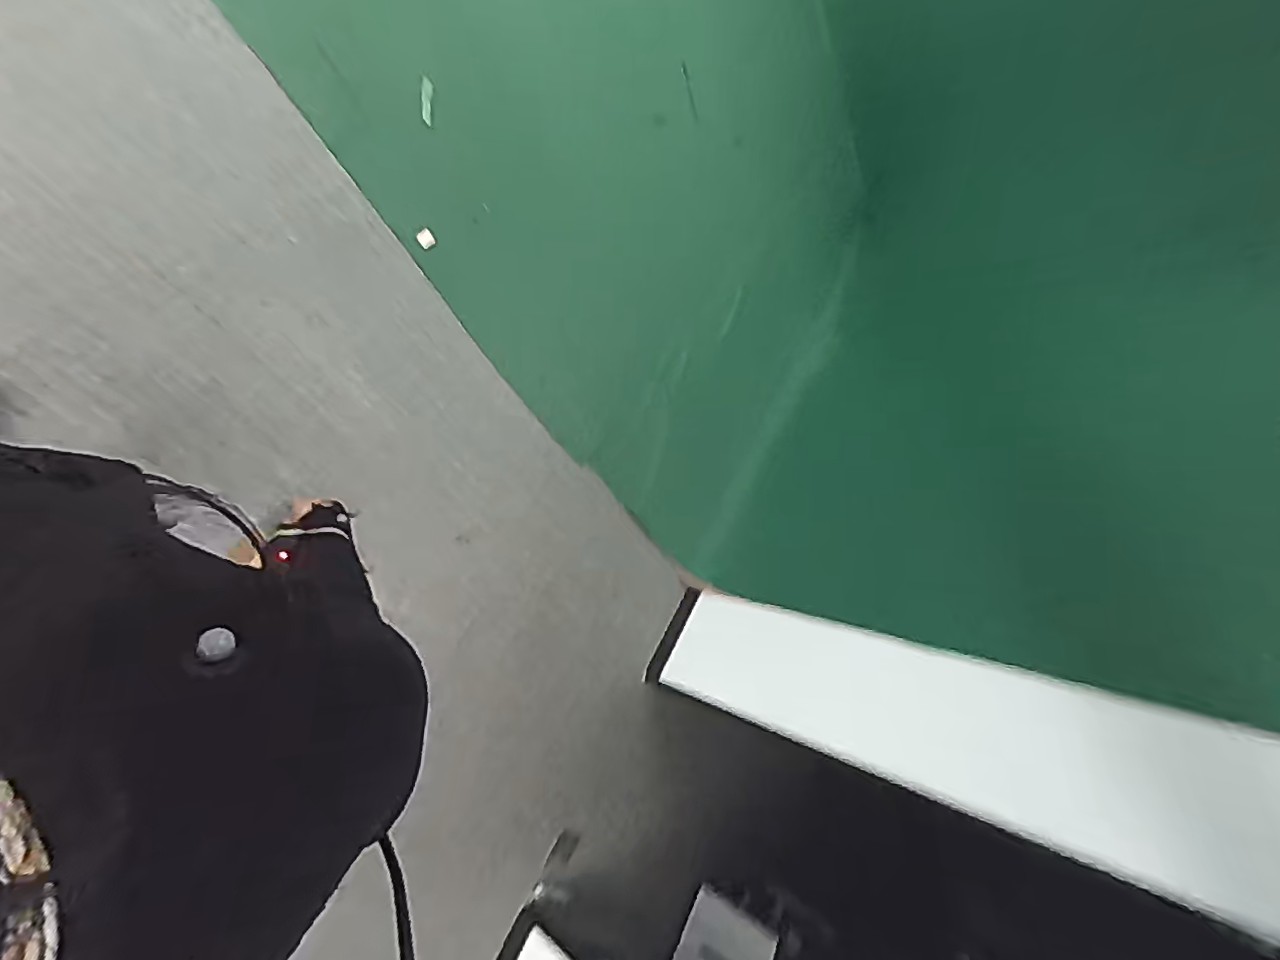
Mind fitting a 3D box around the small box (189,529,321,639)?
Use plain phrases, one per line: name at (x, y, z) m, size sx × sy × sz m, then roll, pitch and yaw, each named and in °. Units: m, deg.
small box at (-0.888, 0.233, 1.241) m, size 0.168 × 0.176 × 0.179 m, roll 52°, pitch 57°, yaw -39°
